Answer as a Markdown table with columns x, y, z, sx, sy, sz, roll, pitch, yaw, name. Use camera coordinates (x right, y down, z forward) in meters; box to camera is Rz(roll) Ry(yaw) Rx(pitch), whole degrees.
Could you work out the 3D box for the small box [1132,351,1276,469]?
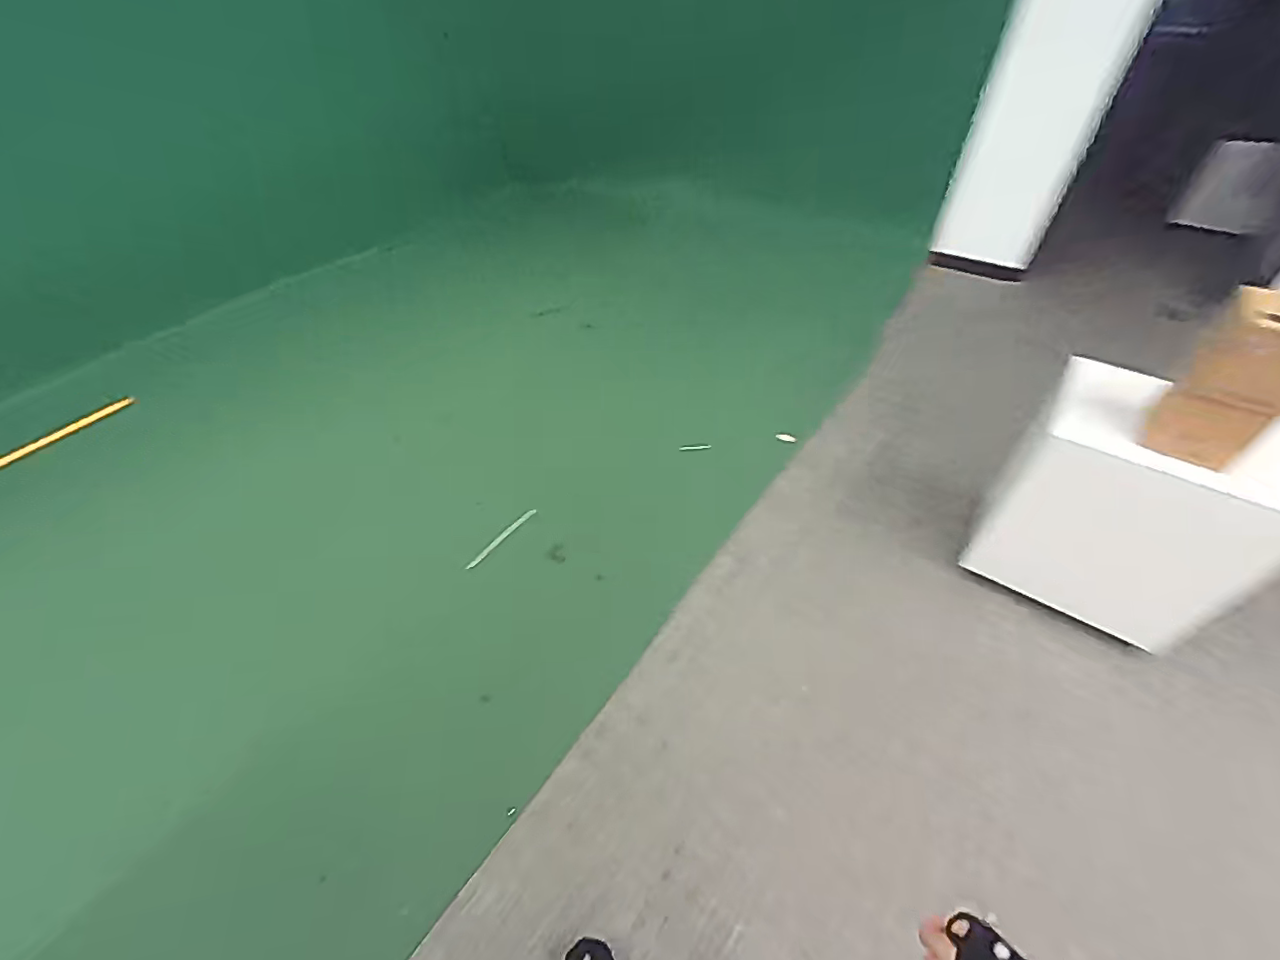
| x | y | z | sx | sy | sz | roll | pitch | yaw | name |
| --- | --- | --- | --- | --- | --- | --- | --- | --- | --- |
| 1.262 | -0.158 | 1.223 | 0.168 | 0.176 | 0.179 | 26 | 52 | 25 | small box |
